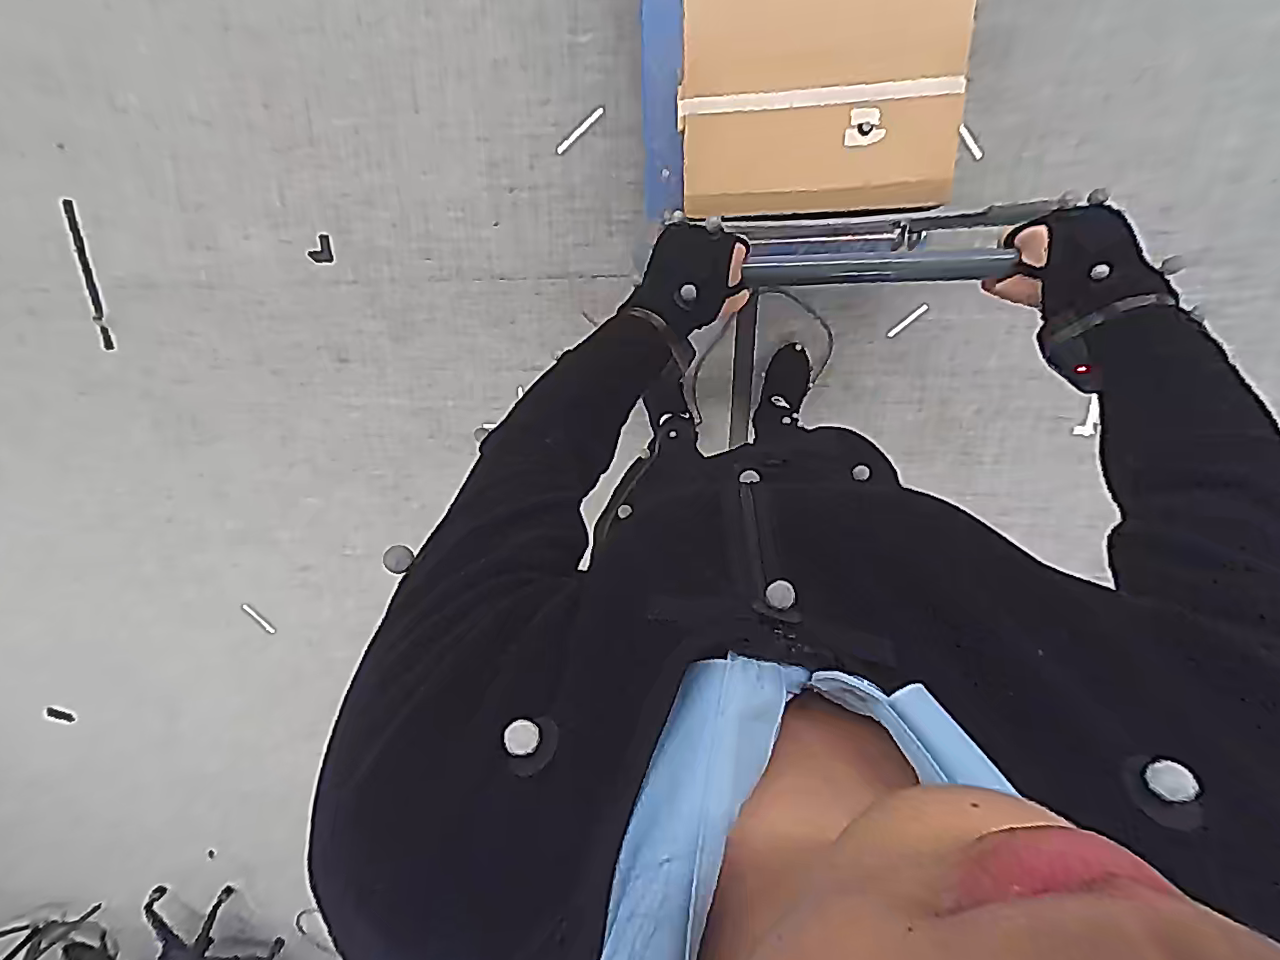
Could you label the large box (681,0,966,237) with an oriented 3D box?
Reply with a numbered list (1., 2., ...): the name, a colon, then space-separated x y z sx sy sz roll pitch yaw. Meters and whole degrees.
1. large box: 0.282 -0.622 0.955 0.408 0.320 0.320 -1 111 6
